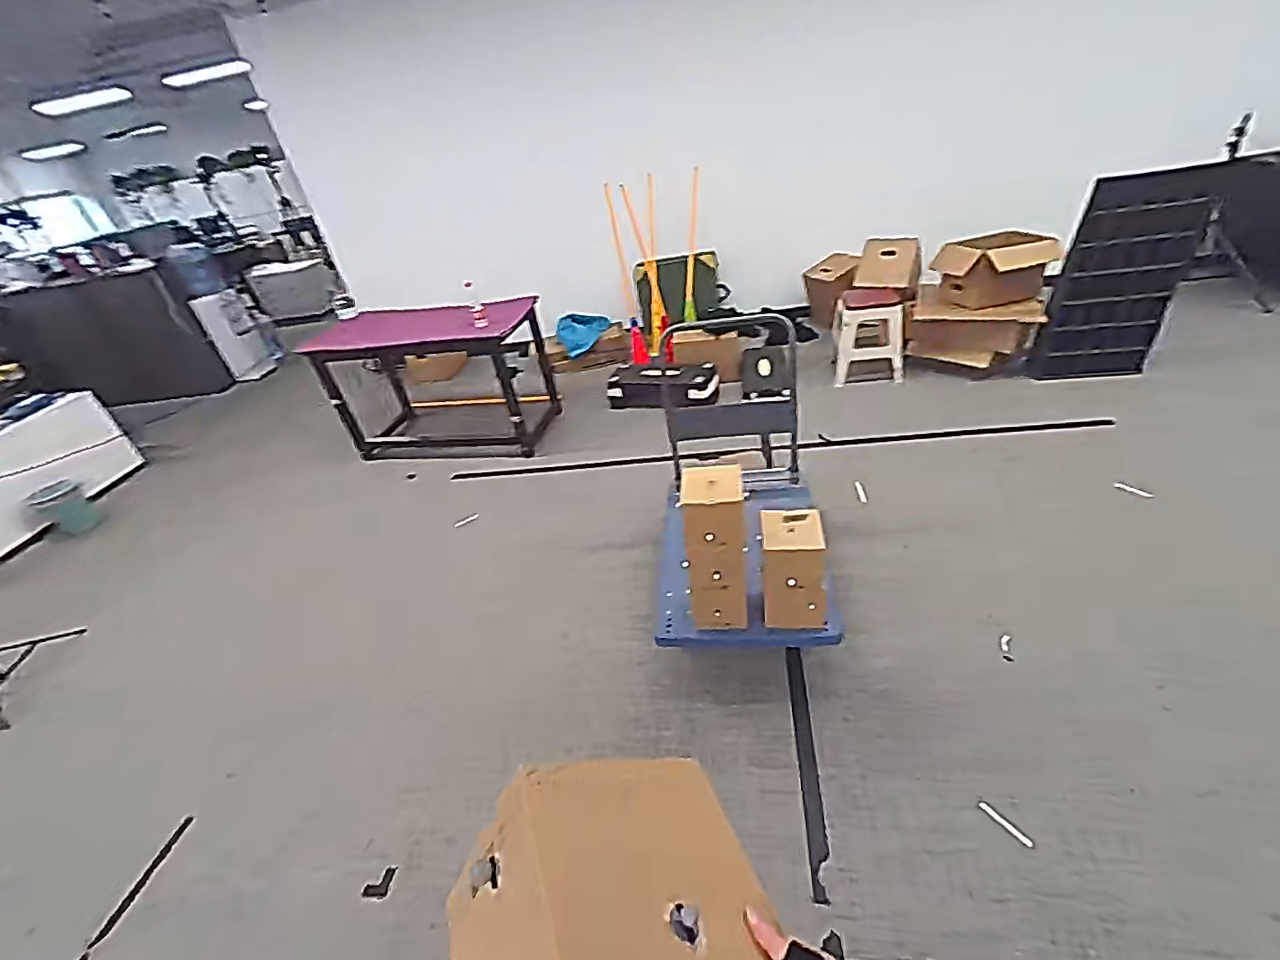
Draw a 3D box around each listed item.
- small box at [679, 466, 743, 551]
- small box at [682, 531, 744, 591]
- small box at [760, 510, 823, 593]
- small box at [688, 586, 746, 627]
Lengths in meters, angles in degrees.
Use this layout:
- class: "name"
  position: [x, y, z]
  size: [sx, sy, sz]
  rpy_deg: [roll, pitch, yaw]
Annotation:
- class: "small box"
  position: [0.203, 0.081, 1.526]
  size: [0.168, 0.176, 0.179]
  rpy_deg: [-4, 35, 9]
- class: "small box"
  position: [0.217, 0.217, 1.616]
  size: [0.168, 0.176, 0.179]
  rpy_deg: [-5, 35, 7]
- class: "small box"
  position: [0.434, 0.206, 1.572]
  size: [0.168, 0.176, 0.179]
  rpy_deg: [-3, 35, 12]
- class: "small box"
  position: [0.244, 0.350, 1.708]
  size: [0.168, 0.176, 0.179]
  rpy_deg: [-4, 34, 8]
